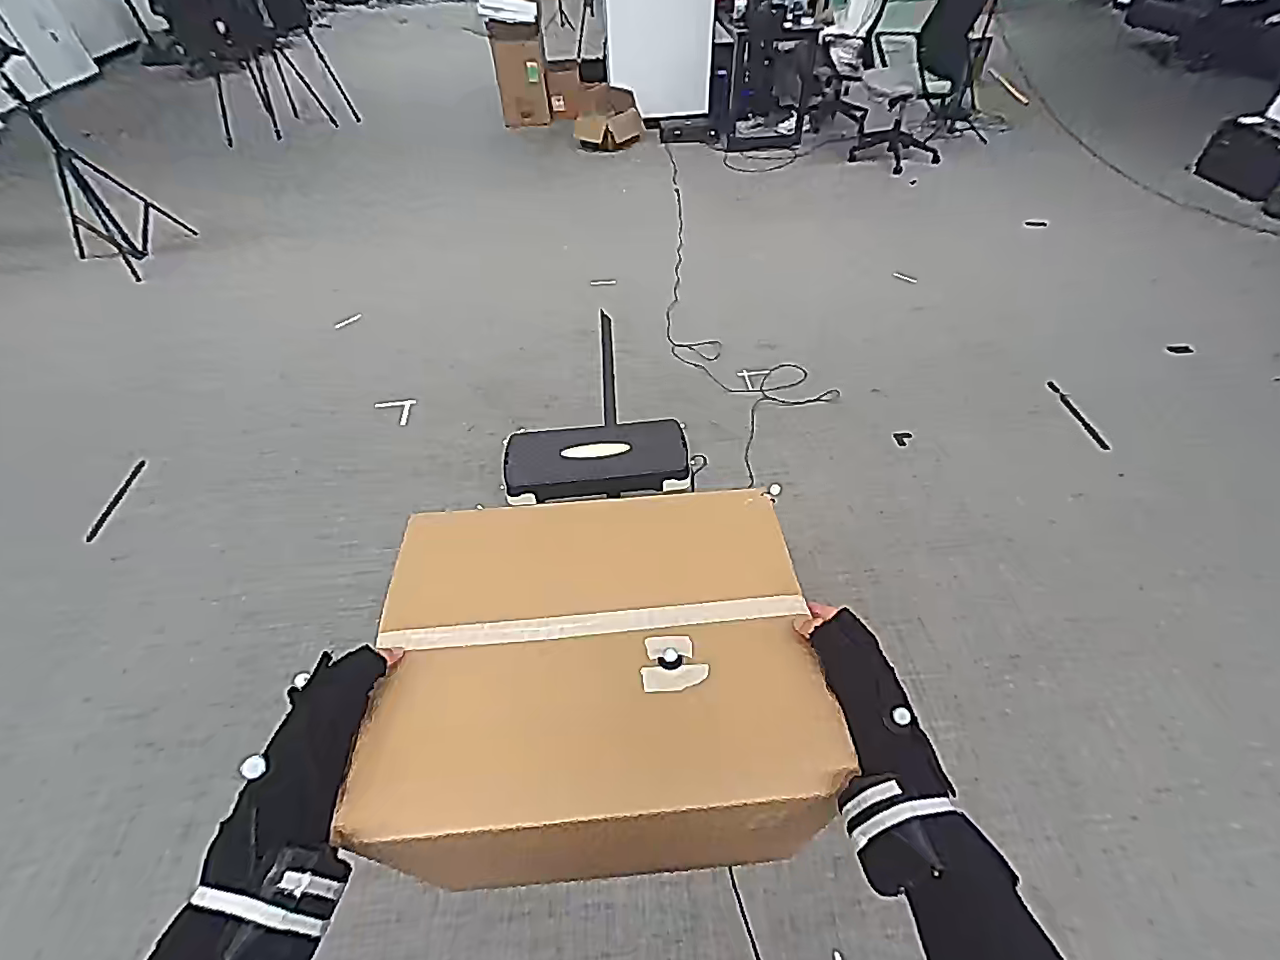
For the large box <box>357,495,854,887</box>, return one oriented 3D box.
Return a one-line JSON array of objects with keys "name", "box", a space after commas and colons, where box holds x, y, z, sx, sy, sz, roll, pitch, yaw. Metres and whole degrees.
[{"name": "large box", "box": [-0.035, 0.245, 0.632, 0.408, 0.320, 0.320, -4, 47, -2]}]
